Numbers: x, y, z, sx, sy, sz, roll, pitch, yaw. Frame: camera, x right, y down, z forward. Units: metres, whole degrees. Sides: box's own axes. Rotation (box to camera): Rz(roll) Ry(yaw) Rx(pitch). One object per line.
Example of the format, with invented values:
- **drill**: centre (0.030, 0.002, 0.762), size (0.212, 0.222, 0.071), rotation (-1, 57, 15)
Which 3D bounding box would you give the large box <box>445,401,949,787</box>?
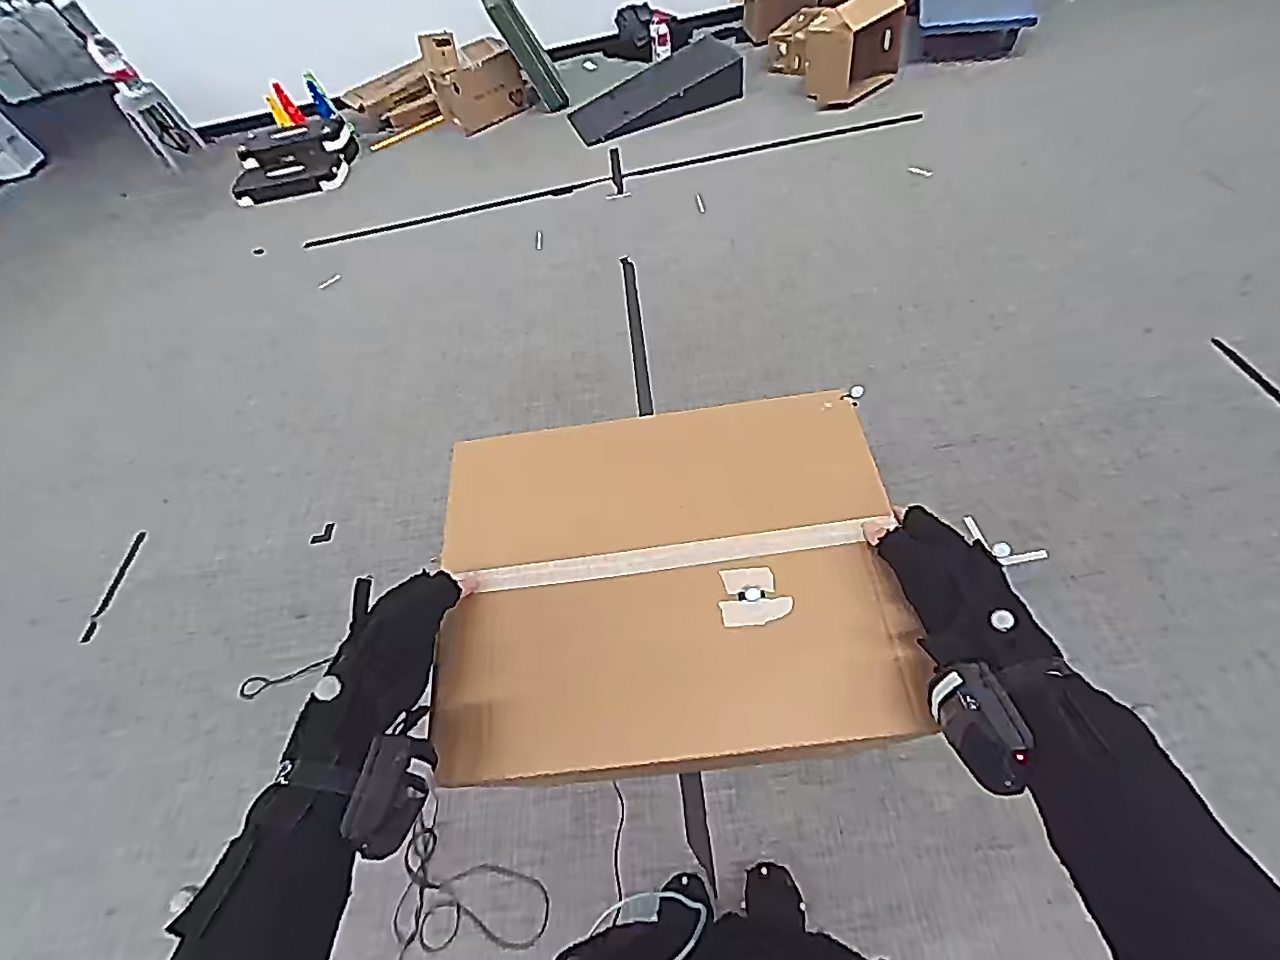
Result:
- **large box**: centre (0.038, 0.149, 0.618), size (0.408, 0.320, 0.320), rotation (-7, 60, 2)
